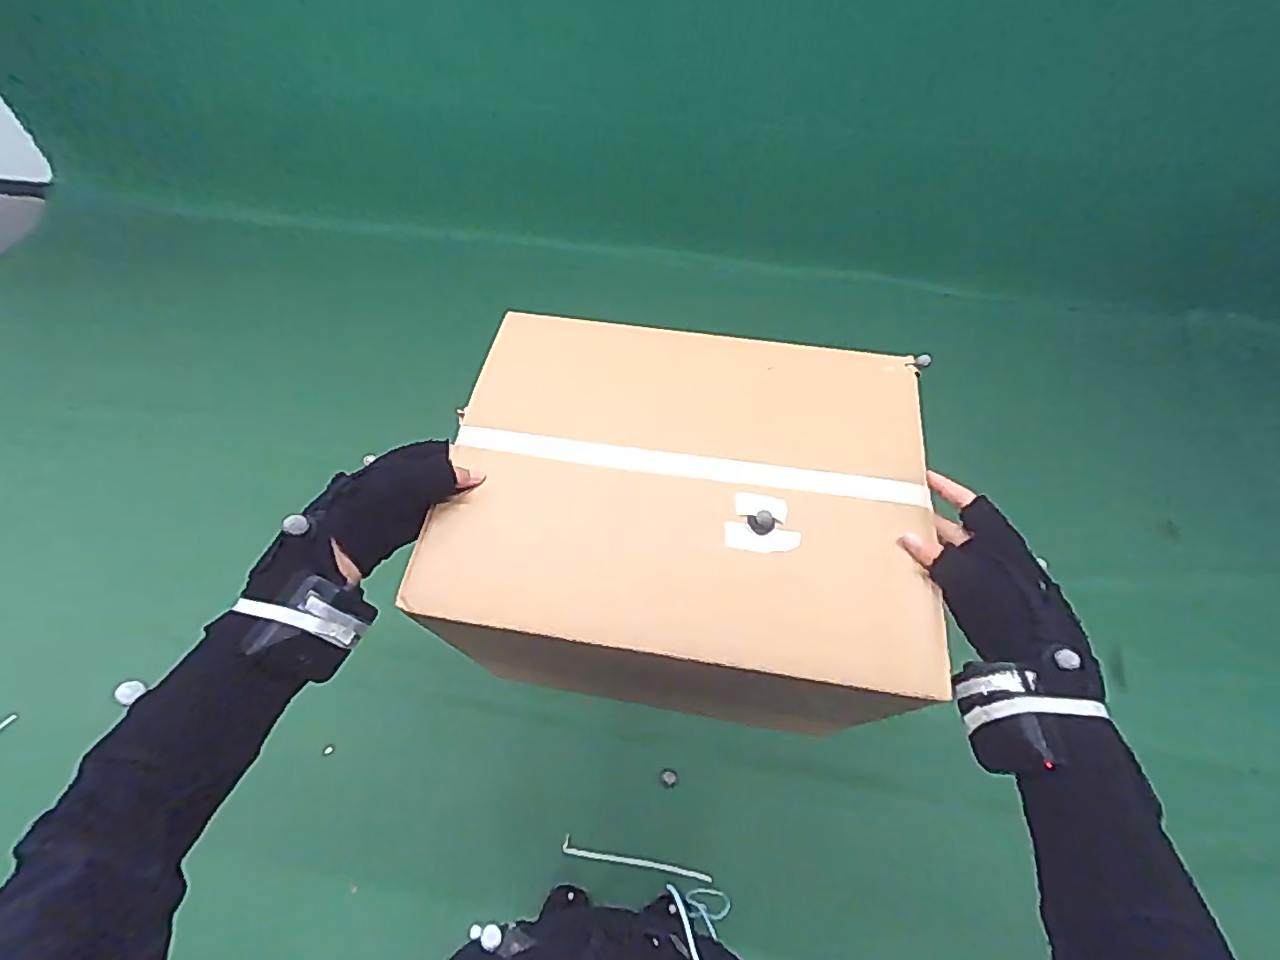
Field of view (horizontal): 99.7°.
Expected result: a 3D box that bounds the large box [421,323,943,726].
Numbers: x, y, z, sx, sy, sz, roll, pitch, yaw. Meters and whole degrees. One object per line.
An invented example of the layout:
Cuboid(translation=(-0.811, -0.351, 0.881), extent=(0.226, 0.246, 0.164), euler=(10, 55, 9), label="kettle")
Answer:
Cuboid(translation=(0.044, 0.065, 0.604), extent=(0.408, 0.320, 0.320), euler=(8, 61, 4), label="large box")
